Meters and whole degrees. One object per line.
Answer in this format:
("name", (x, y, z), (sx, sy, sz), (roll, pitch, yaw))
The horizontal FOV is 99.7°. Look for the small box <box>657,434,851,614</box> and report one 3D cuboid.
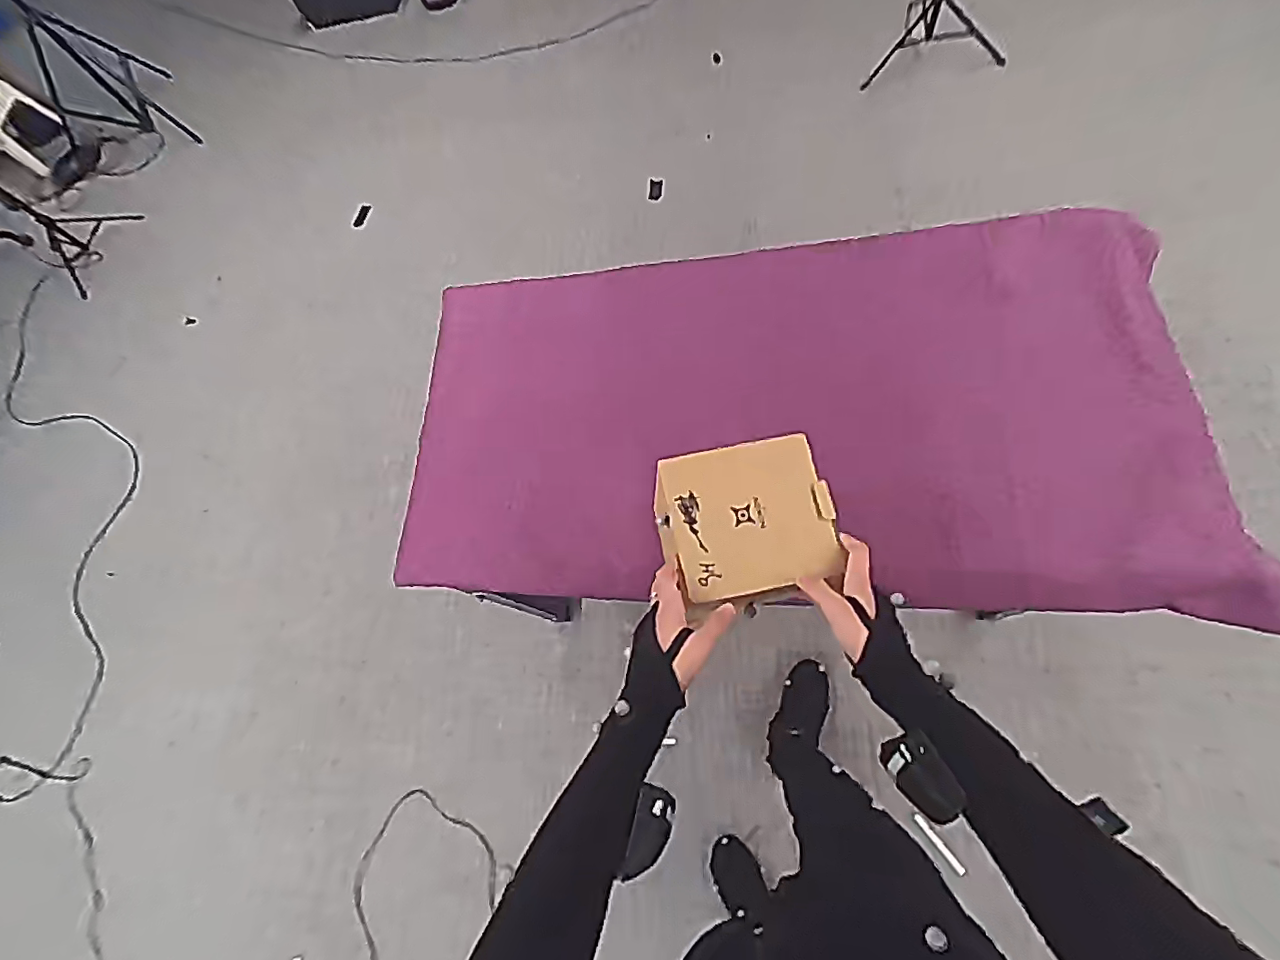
("small box", (0.123, 0.062, 0.661), (0.179, 0.176, 0.168), (-10, 71, -4))
